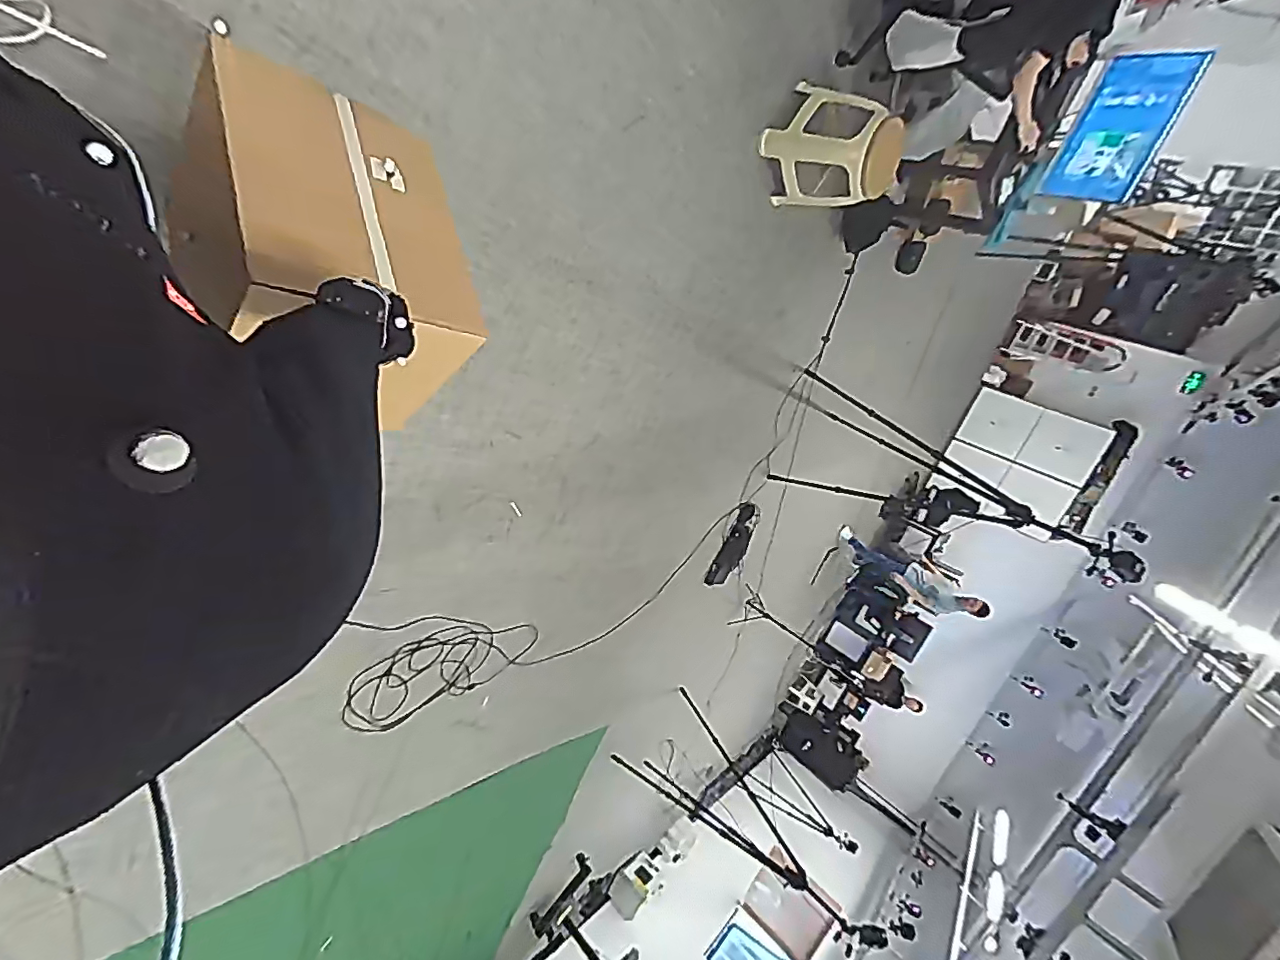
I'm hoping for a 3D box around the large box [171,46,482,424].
[{"bbox_3d":[-0.512,-0.336,0.868,0.320,0.408,0.320,-31,162,35],"label":"large box"}]
